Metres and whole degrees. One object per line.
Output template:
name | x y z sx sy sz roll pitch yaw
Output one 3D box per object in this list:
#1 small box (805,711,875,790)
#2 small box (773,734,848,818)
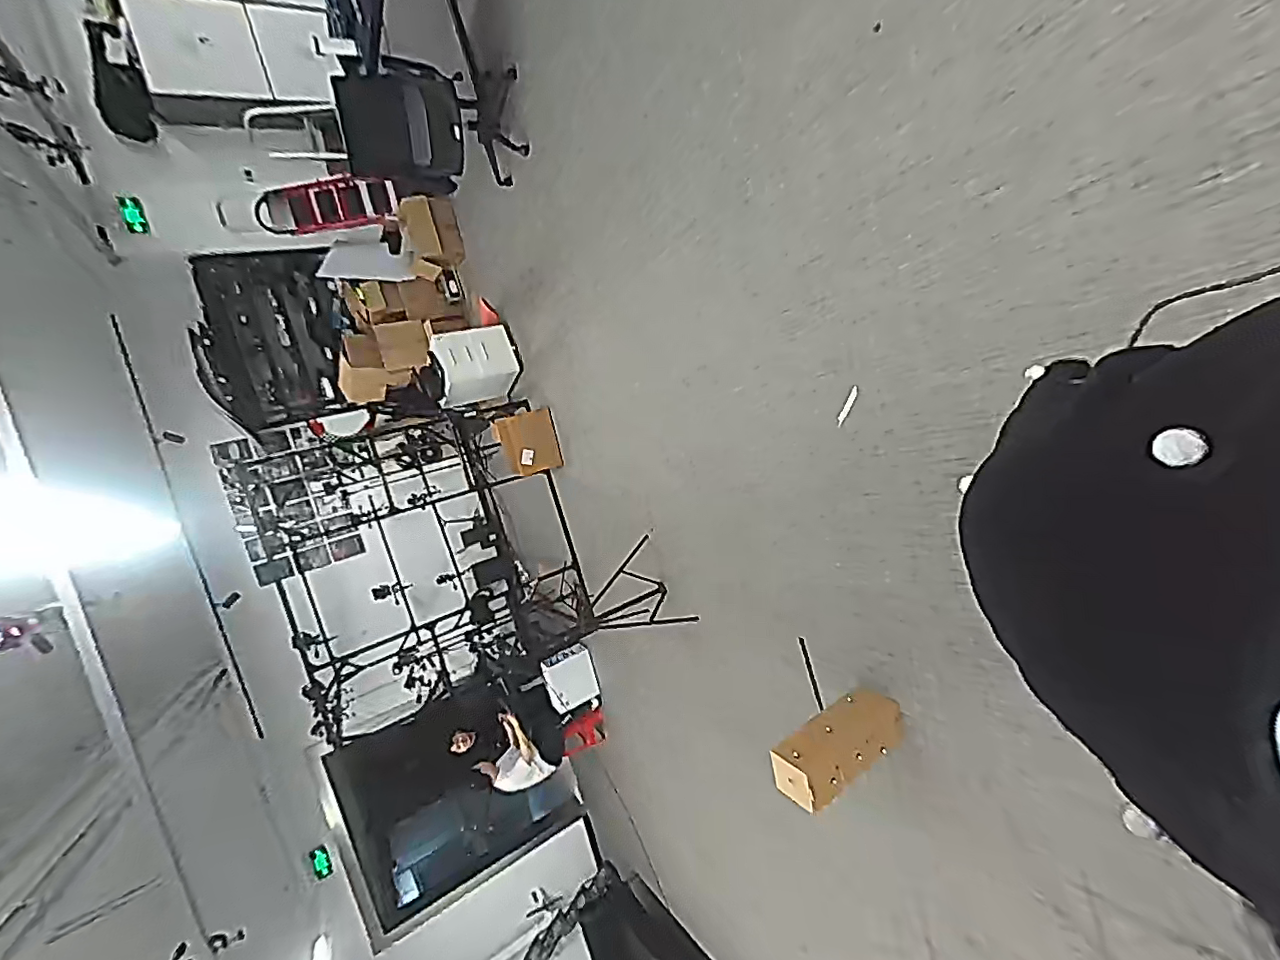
small box | 0.739 0.983 1.984 0.179 0.176 0.168 5 111 60
small box | 0.604 1.034 1.910 0.179 0.176 0.168 4 110 60
